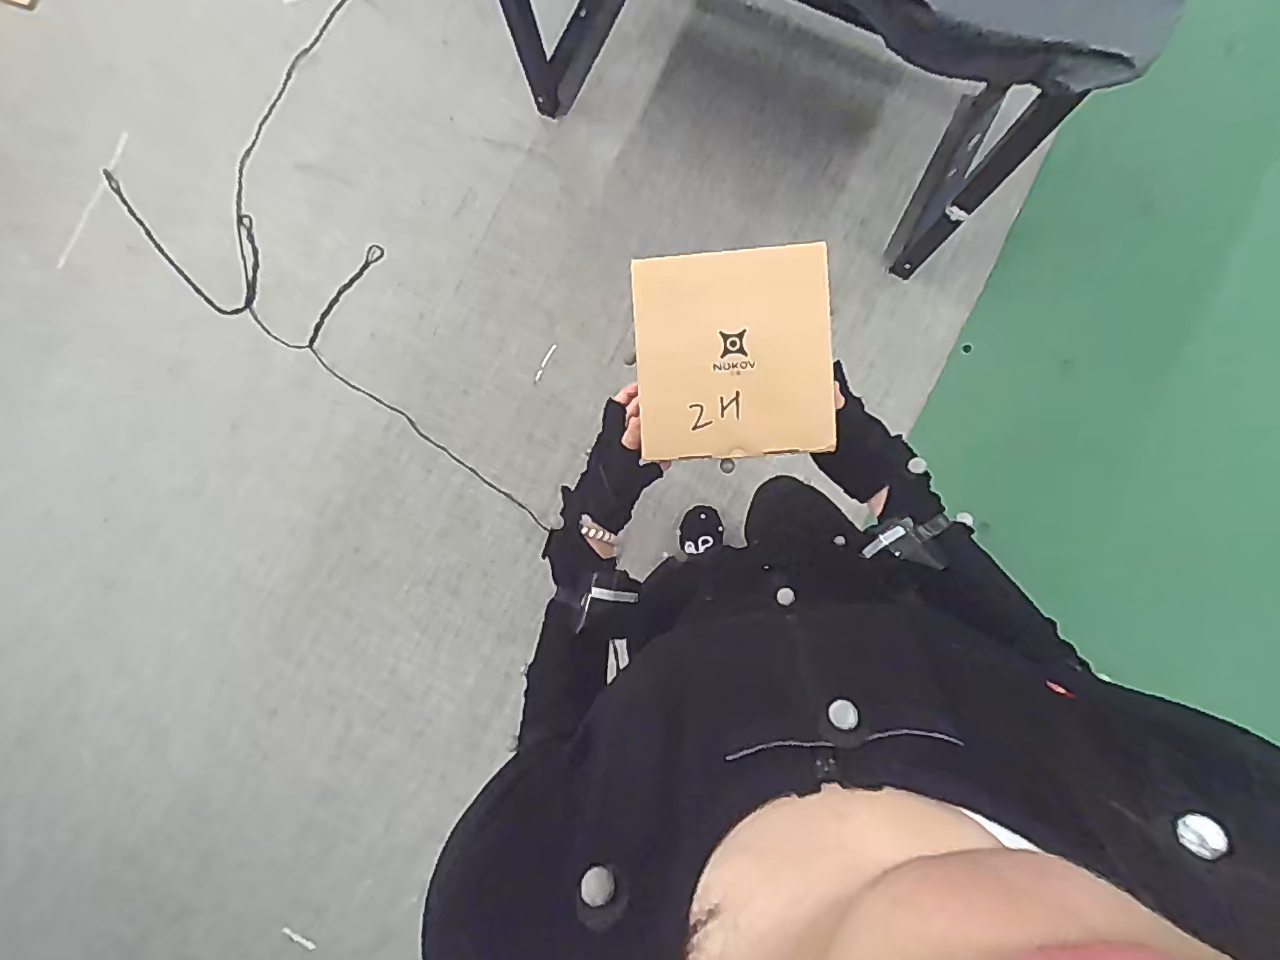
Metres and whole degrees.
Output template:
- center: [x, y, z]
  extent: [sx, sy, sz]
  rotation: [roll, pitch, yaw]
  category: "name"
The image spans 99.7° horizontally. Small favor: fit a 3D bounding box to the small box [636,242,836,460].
- center: [0.085, -0.111, 0.536]
  extent: [0.168, 0.176, 0.179]
  rotation: [-3, 92, 5]
  category: "small box"
